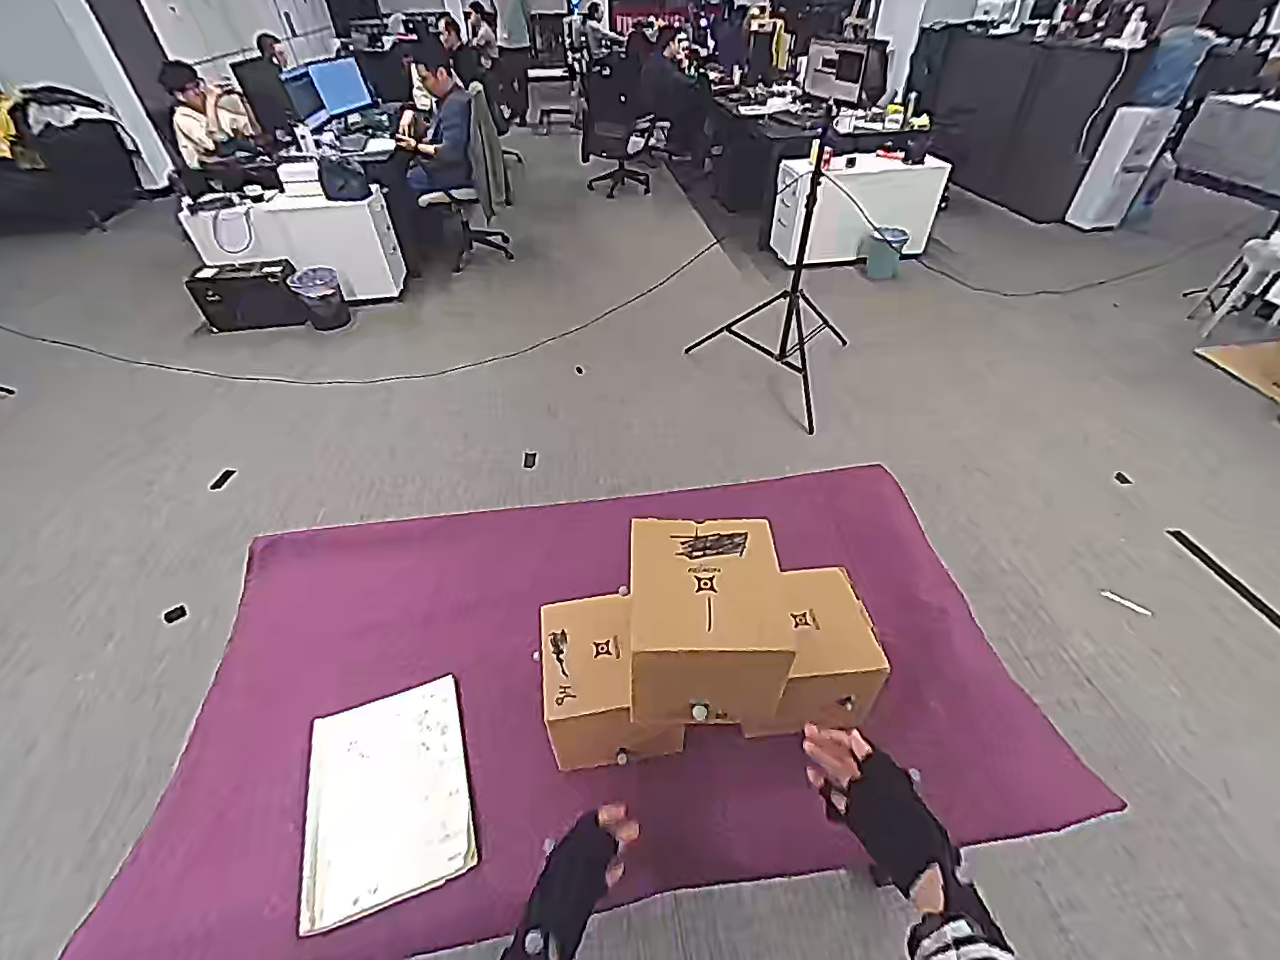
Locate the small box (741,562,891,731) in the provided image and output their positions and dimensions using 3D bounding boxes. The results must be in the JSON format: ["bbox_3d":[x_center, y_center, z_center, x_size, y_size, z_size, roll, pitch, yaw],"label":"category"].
[{"bbox_3d":[0.225,0.241,0.781,0.179,0.176,0.168,-6,42,-1],"label":"small box"}]

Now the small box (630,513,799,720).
[{"bbox_3d":[0.072,0.157,0.634,0.168,0.176,0.179,0,43,1],"label":"small box"}]

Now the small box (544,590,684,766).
[{"bbox_3d":[-0.037,0.274,0.755,0.179,0.176,0.168,-6,42,-7],"label":"small box"}]
